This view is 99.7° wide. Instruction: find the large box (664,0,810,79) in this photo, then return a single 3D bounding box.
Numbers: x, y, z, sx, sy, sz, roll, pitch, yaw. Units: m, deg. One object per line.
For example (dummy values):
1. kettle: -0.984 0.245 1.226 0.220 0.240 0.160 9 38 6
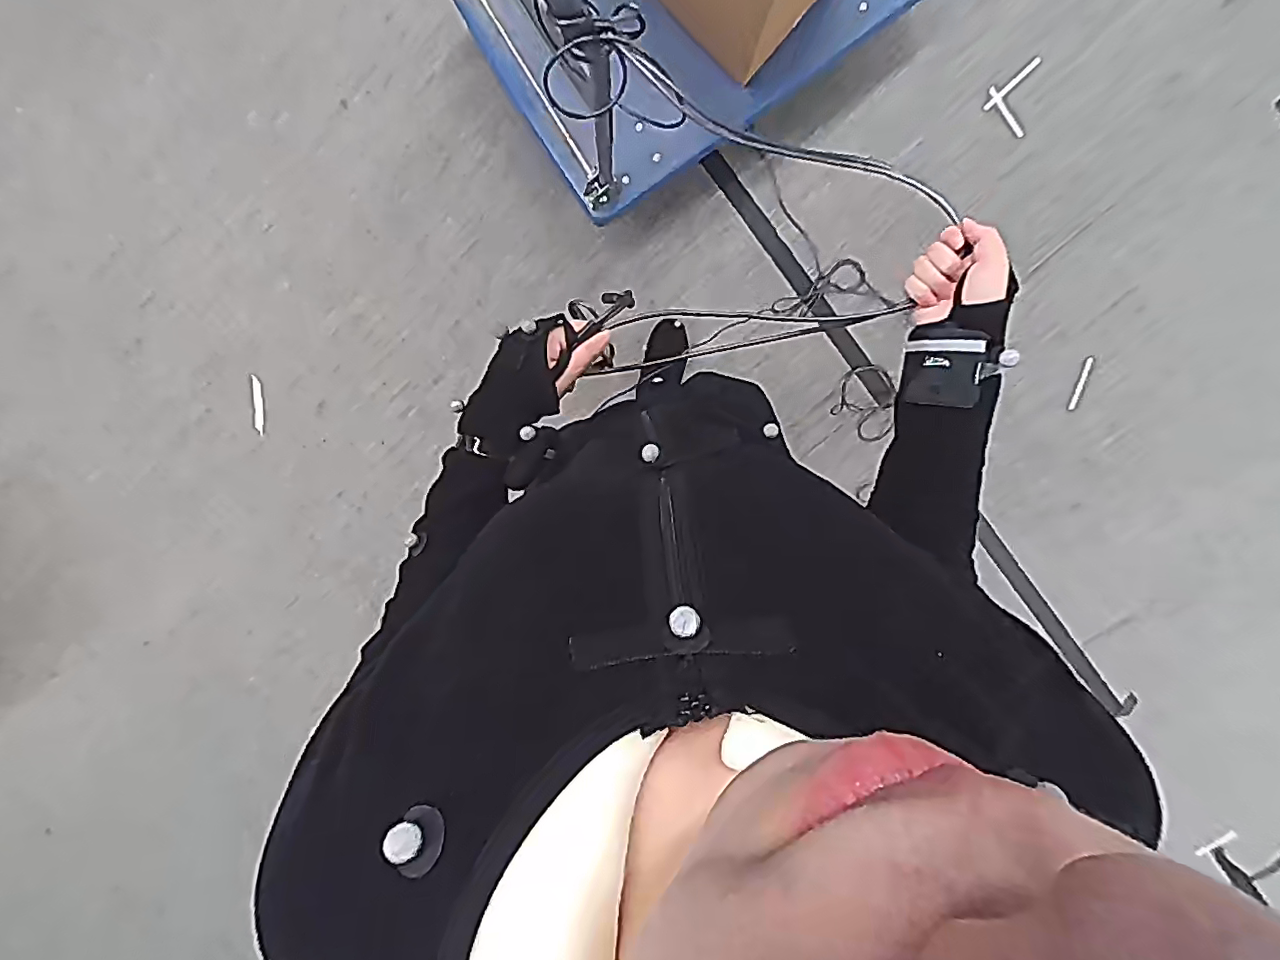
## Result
1. large box: 0.164 -1.023 0.918 0.408 0.320 0.320 41 101 -9
